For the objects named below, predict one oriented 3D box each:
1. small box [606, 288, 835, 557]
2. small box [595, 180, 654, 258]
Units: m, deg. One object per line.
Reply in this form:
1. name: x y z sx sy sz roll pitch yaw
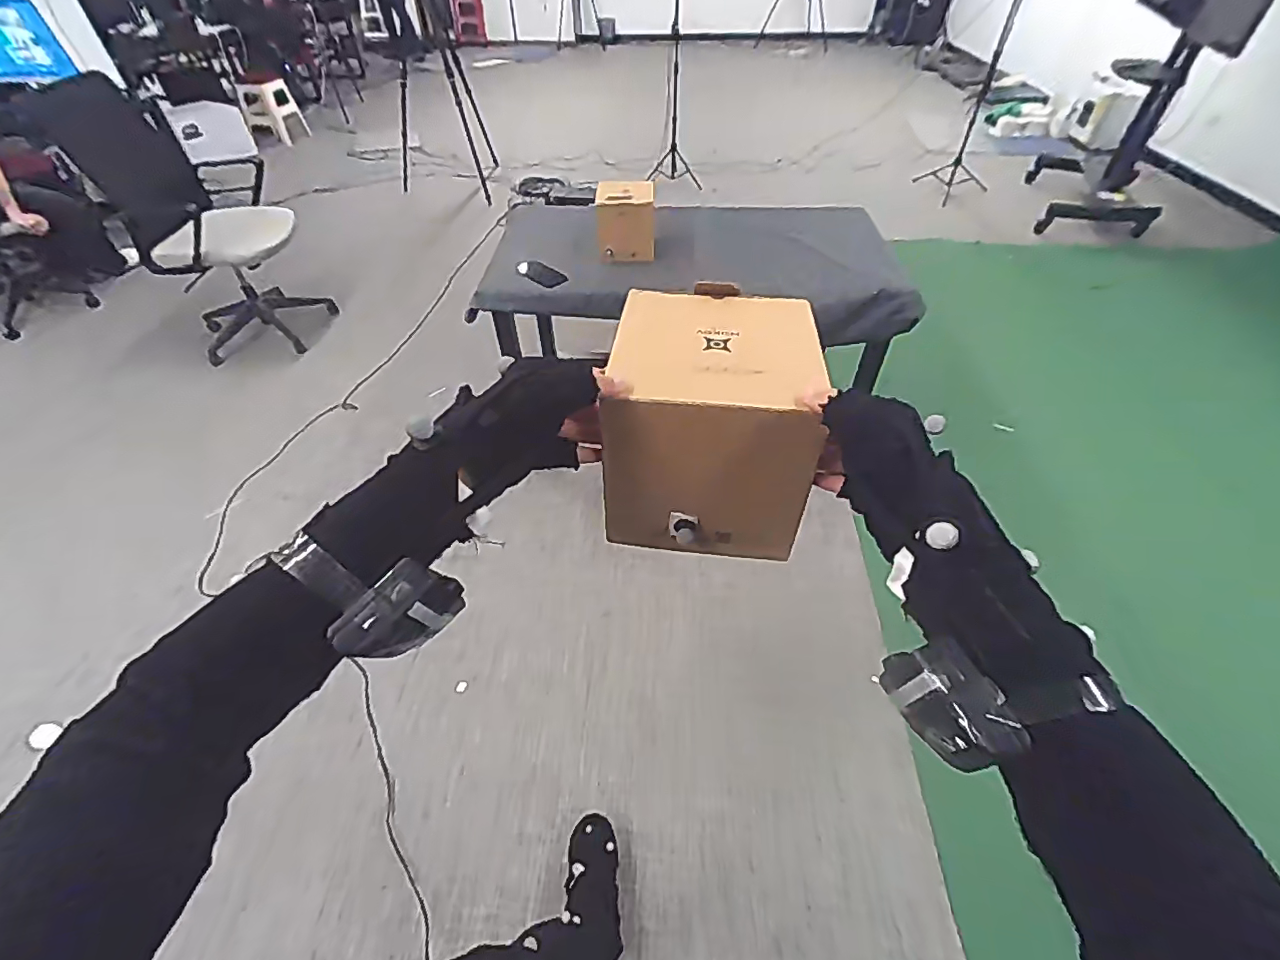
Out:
1. small box: 0.064 -0.054 0.496 0.168 0.176 0.179 4 46 4
2. small box: -0.041 -0.776 1.611 0.168 0.176 0.179 0 46 0
